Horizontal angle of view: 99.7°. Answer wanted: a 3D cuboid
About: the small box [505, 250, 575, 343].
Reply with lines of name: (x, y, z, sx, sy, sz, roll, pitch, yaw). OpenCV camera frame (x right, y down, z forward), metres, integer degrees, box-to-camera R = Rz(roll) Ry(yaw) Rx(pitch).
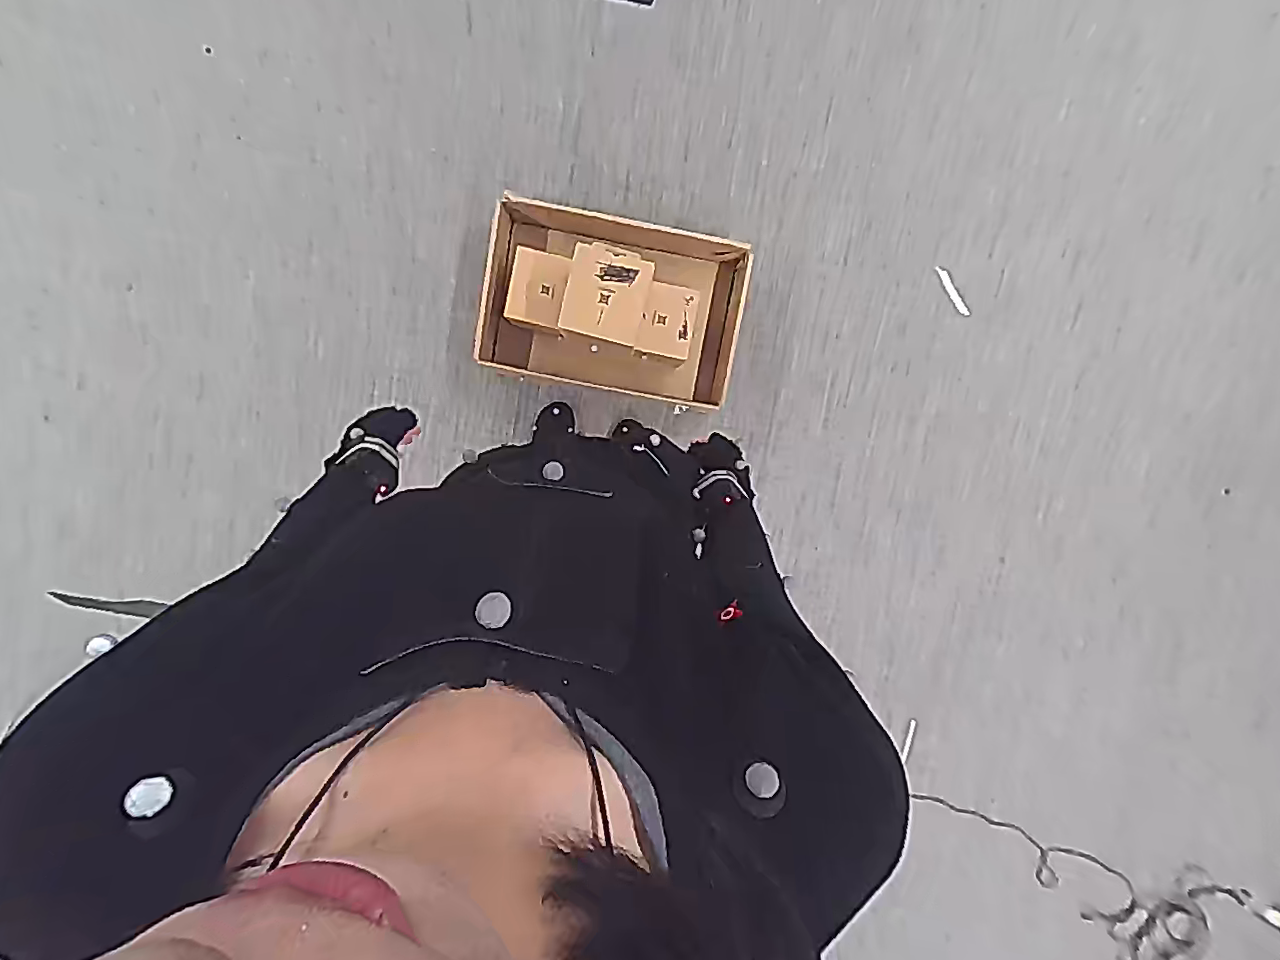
small box: (-0.217, -0.443, 1.335, 0.179, 0.176, 0.168, 13, 96, -4)

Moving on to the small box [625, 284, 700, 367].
small box: (0.042, -0.383, 1.354, 0.179, 0.176, 0.168, 10, 97, -1)

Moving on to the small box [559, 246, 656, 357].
small box: (-0.071, -0.380, 1.184, 0.168, 0.176, 0.179, 14, 96, -3)
